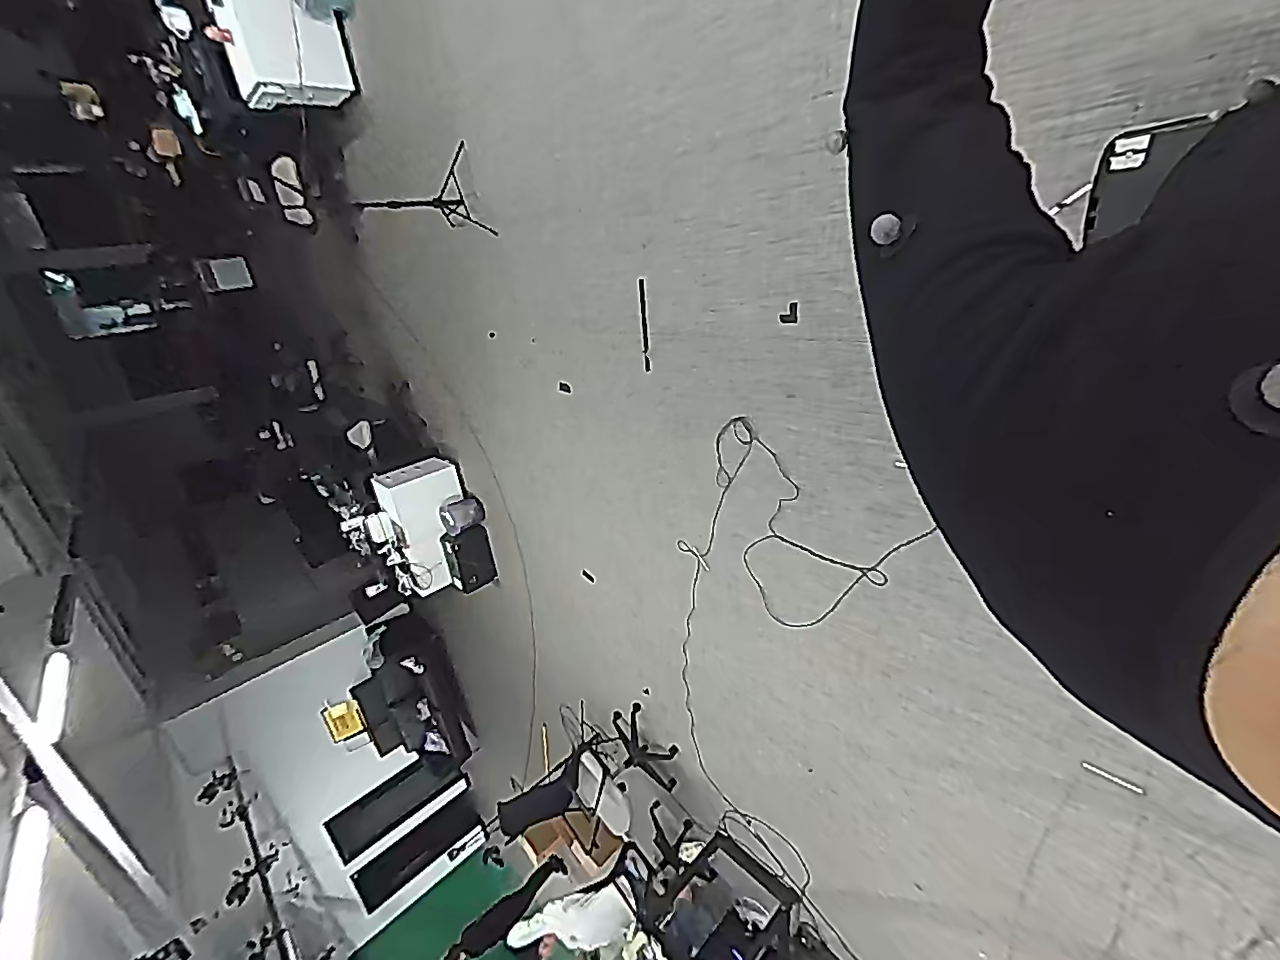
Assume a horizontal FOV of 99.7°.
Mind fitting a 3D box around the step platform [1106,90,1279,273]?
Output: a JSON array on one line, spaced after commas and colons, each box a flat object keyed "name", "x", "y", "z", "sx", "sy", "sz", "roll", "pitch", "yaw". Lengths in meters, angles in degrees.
[{"name": "step platform", "x": 1.219, "y": -0.518, "z": 0.891, "sx": 0.684, "sy": 0.204, "sz": 0.286, "roll": 15, "pitch": 122, "yaw": 44}]
